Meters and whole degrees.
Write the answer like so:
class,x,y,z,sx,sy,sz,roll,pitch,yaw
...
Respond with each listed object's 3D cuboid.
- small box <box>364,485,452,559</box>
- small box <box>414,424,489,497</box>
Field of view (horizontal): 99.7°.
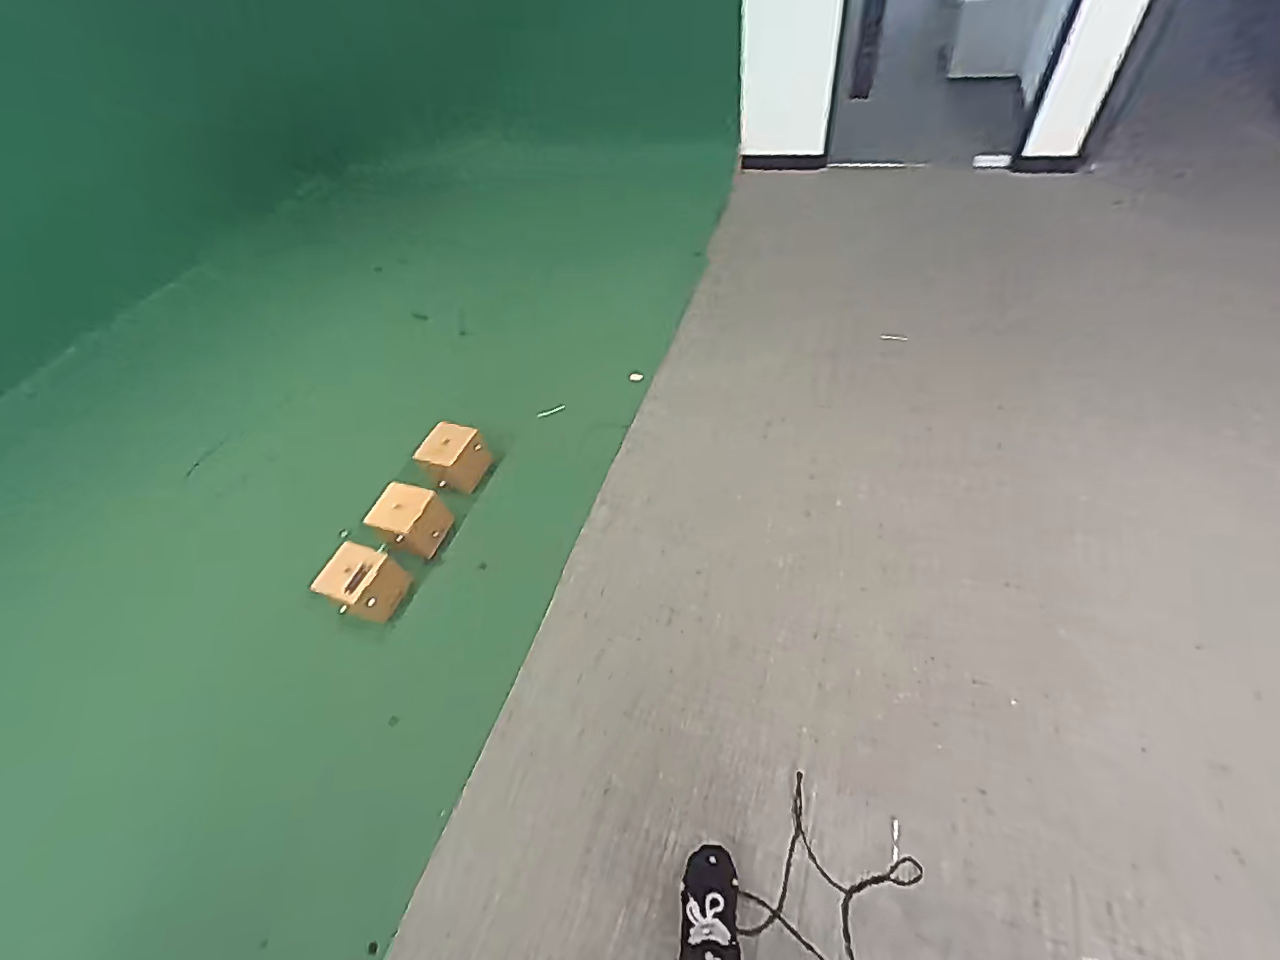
class,x,y,z,sx,sy,sz,roll,pitch,yaw
small box,-0.762,0.142,1.794,0.179,0.176,0.168,11,55,16
small box,-0.665,-0.070,1.941,0.168,0.176,0.179,13,55,18
